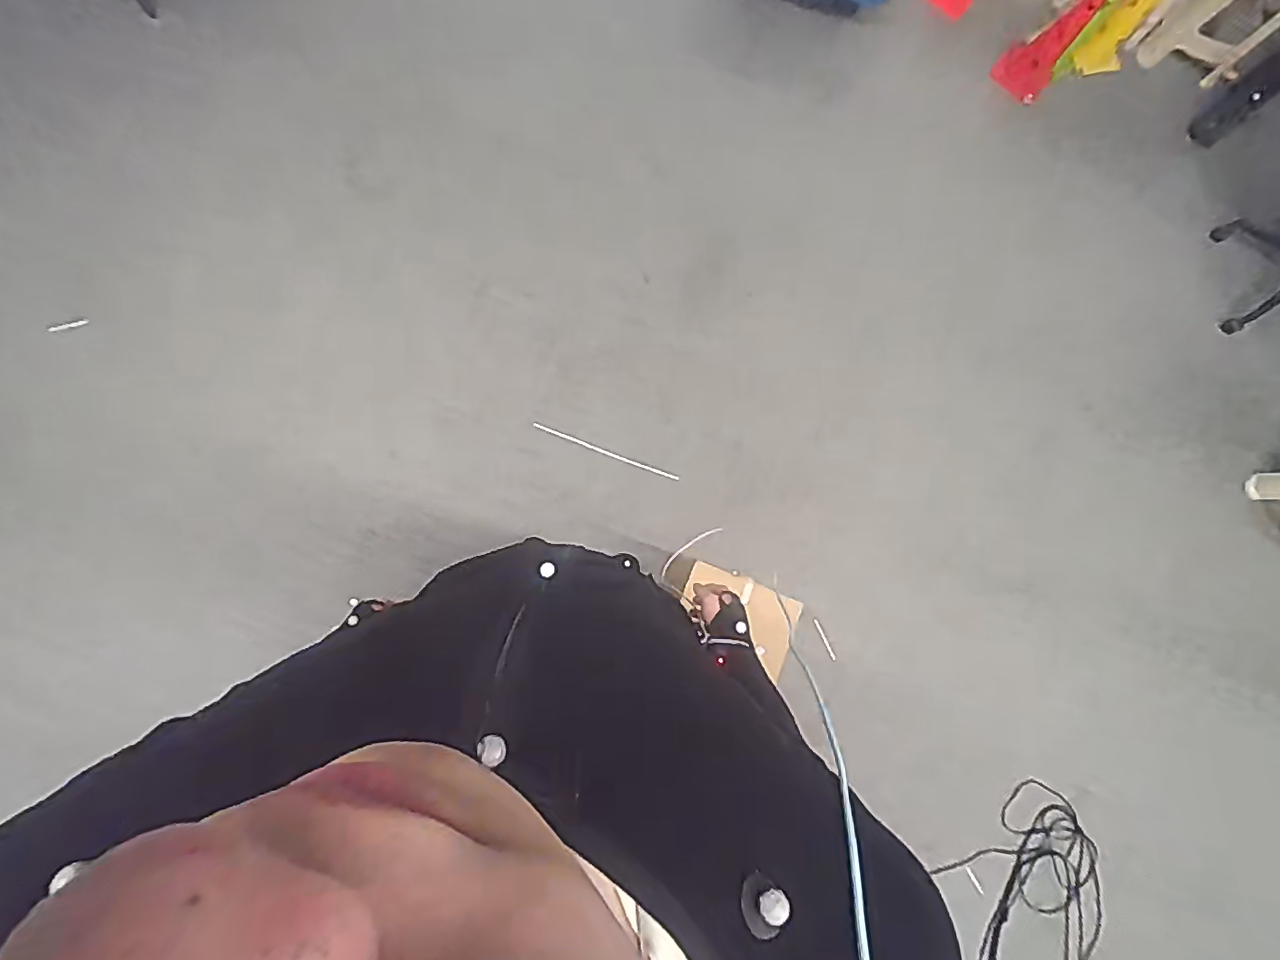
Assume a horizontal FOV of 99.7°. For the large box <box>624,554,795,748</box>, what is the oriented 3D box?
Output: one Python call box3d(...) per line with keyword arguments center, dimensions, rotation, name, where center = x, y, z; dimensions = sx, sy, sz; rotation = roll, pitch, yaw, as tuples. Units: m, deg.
box3d(center=(0.178, 0.454, 1.526), dimensions=(0.320, 0.320, 0.408), rotation=(23, 83, -5), name="large box")
